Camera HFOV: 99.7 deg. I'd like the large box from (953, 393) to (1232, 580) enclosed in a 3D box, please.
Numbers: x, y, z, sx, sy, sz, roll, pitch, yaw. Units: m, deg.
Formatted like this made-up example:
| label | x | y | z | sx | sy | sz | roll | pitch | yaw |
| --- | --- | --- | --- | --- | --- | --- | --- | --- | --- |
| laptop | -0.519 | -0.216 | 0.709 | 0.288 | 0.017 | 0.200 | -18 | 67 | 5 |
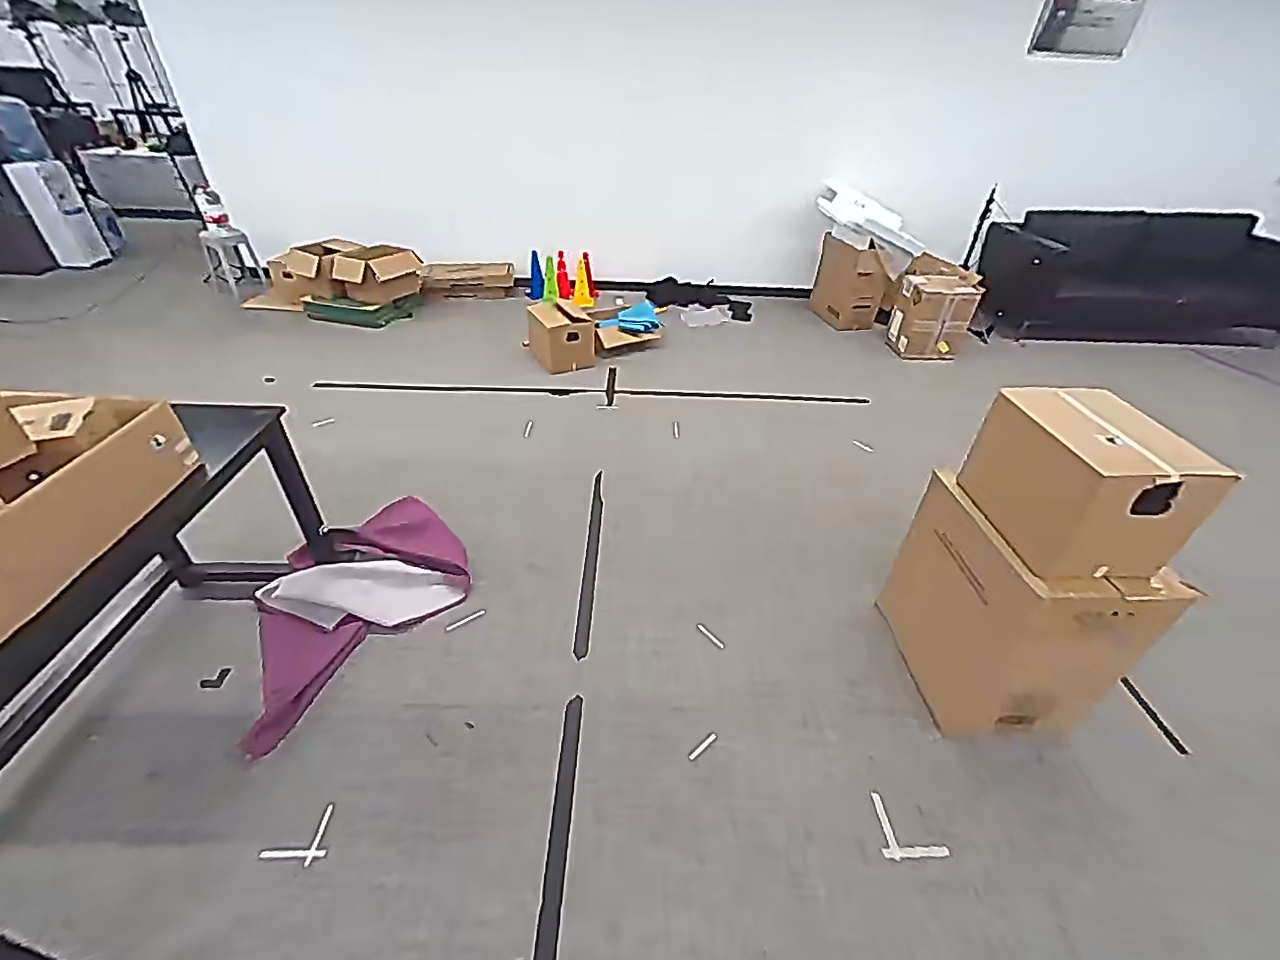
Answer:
| label | x | y | z | sx | sy | sz | roll | pitch | yaw |
| --- | --- | --- | --- | --- | --- | --- | --- | --- | --- |
| large box | 1.110 | 0.007 | 1.401 | 0.320 | 0.320 | 0.408 | -1 | 37 | -4 |
